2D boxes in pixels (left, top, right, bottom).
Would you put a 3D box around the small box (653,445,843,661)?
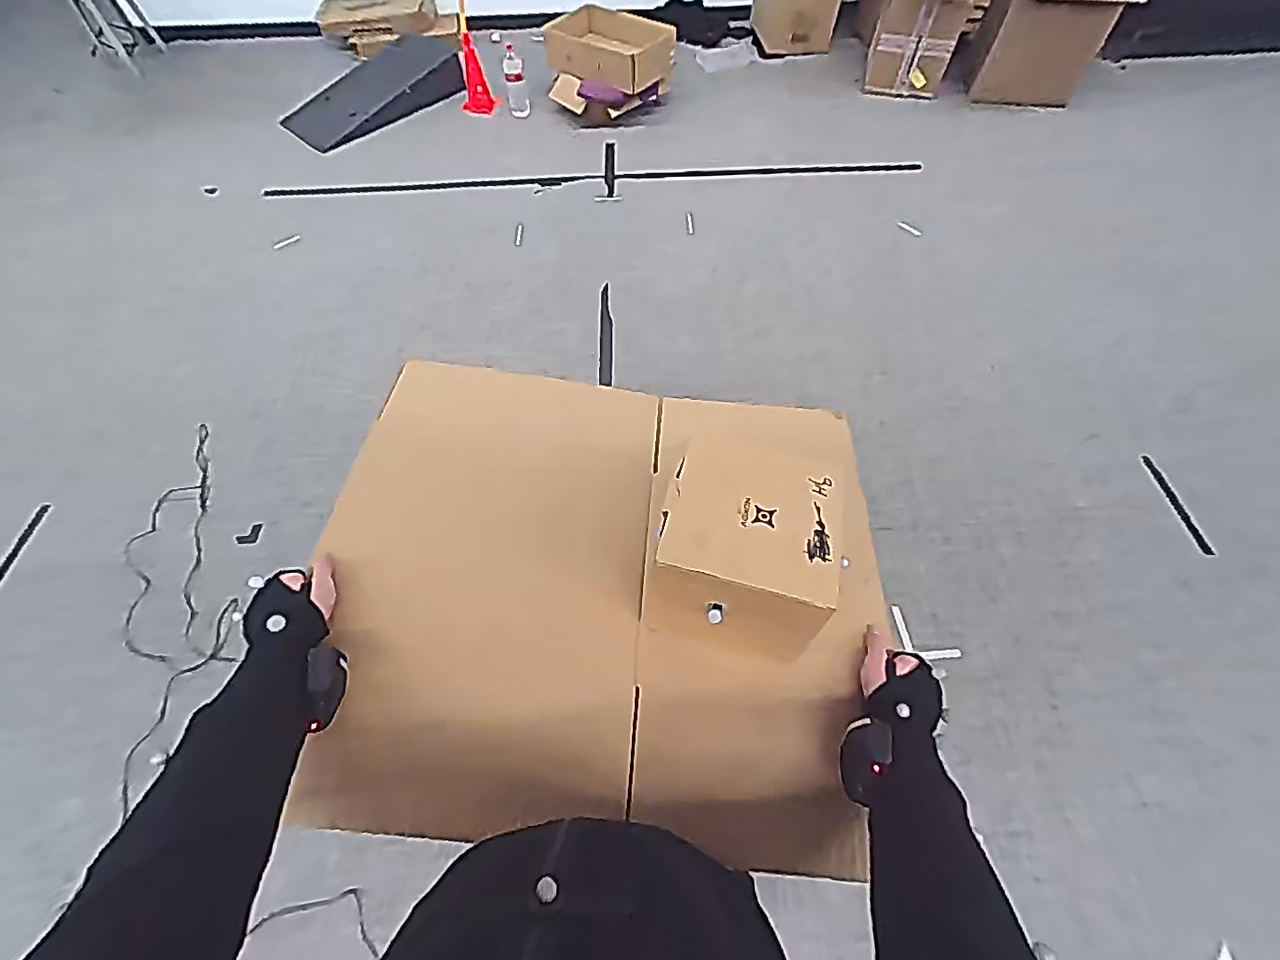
[{"bbox_3d":[0.117,0.088,0.621,0.179,0.176,0.168,13,54,8],"label":"small box"}]
